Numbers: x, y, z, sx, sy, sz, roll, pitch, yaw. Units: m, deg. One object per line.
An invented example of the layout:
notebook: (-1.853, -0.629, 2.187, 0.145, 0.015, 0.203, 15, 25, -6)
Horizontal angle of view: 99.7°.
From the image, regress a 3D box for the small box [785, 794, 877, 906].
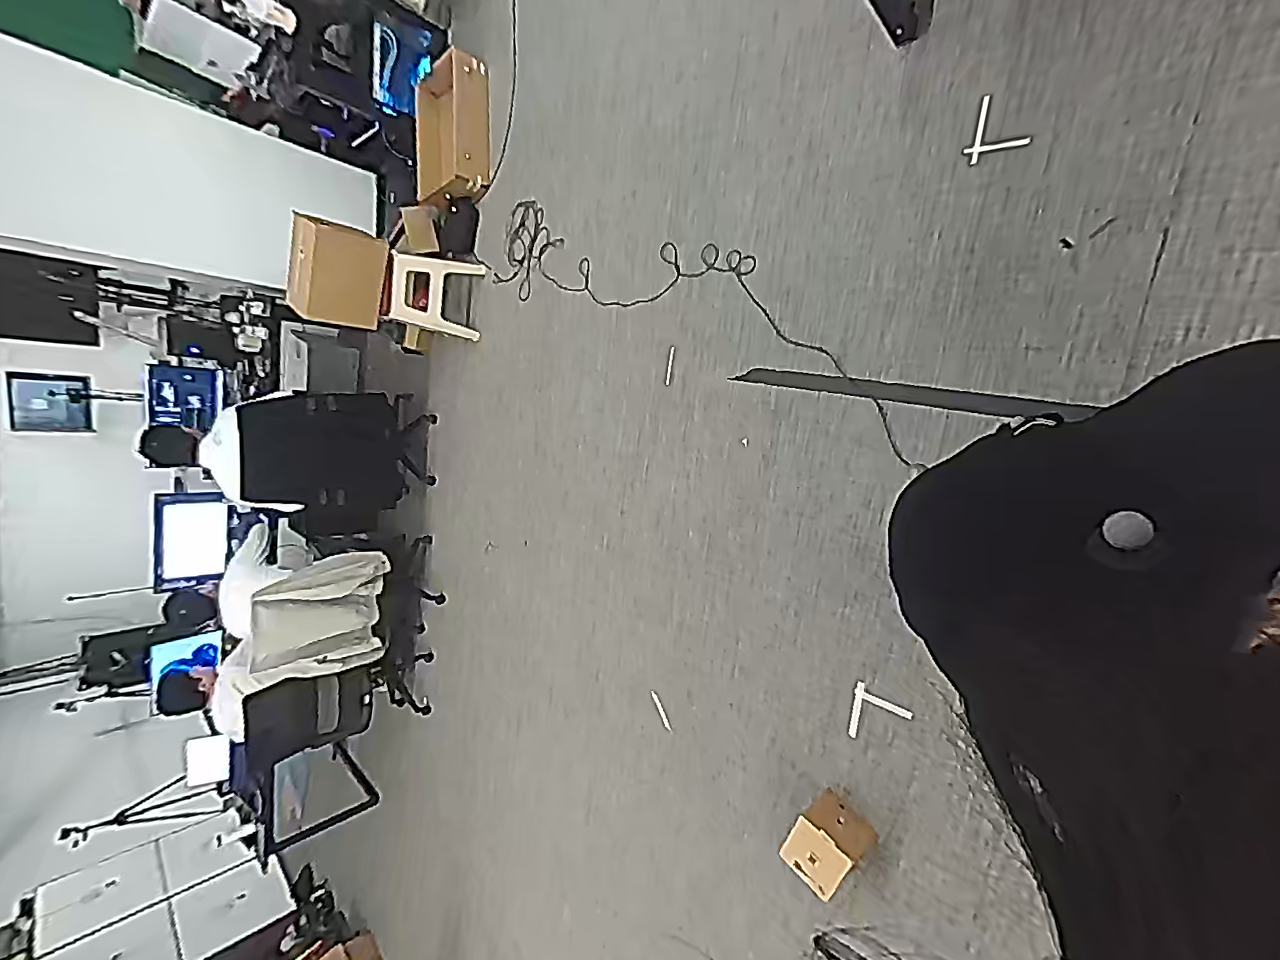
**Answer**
small box: (0.555, 1.053, 1.557, 0.168, 0.176, 0.179, 34, 114, 37)
